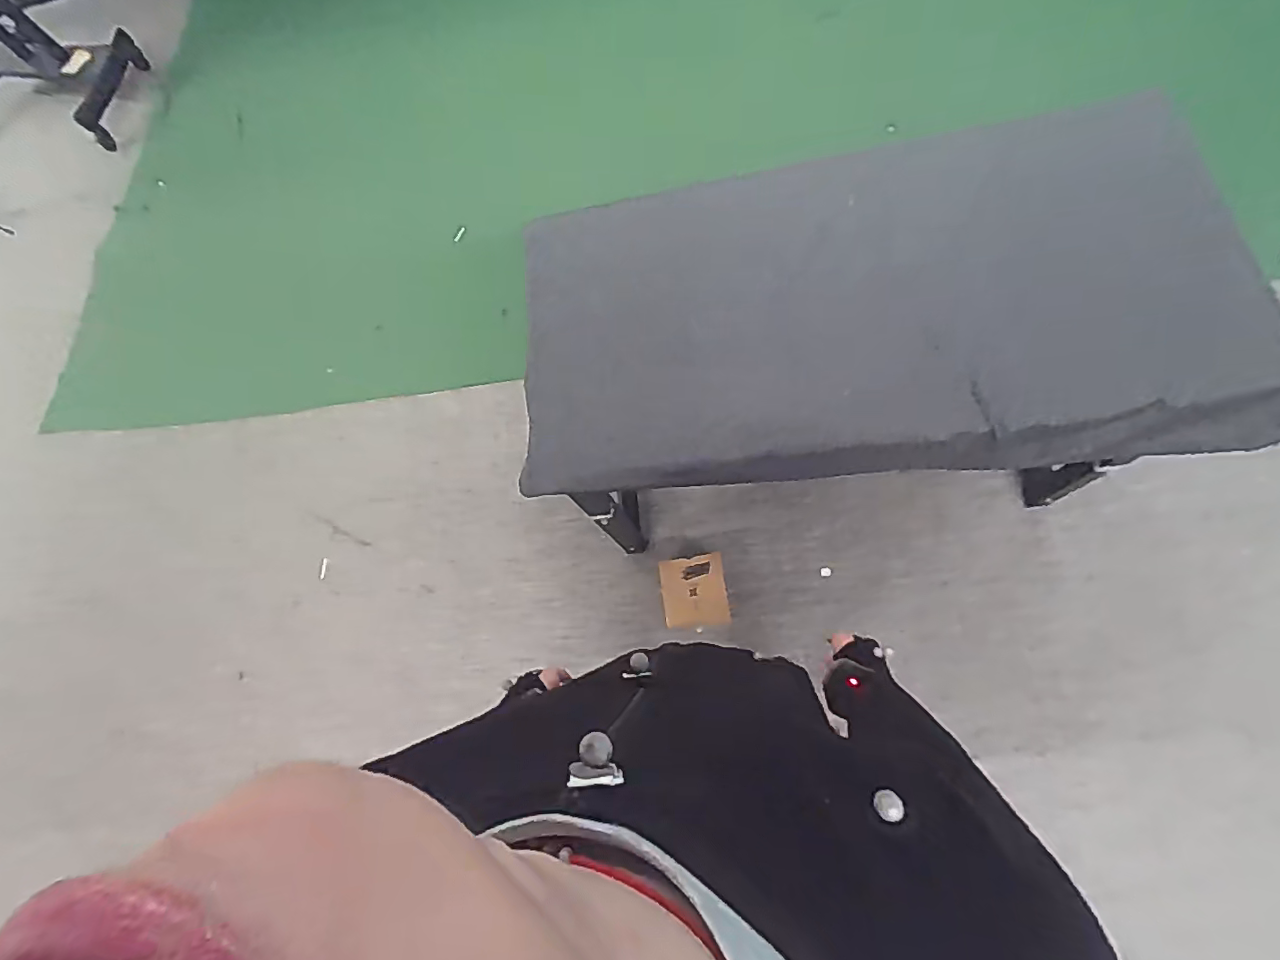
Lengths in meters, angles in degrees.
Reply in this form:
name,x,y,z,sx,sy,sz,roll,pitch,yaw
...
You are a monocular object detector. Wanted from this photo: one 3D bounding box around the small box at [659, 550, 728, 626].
name,x,y,z,sx,sy,sz,roll,pitch,yaw
small box,0.149,0.300,1.483,0.168,0.176,0.179,-9,72,8
